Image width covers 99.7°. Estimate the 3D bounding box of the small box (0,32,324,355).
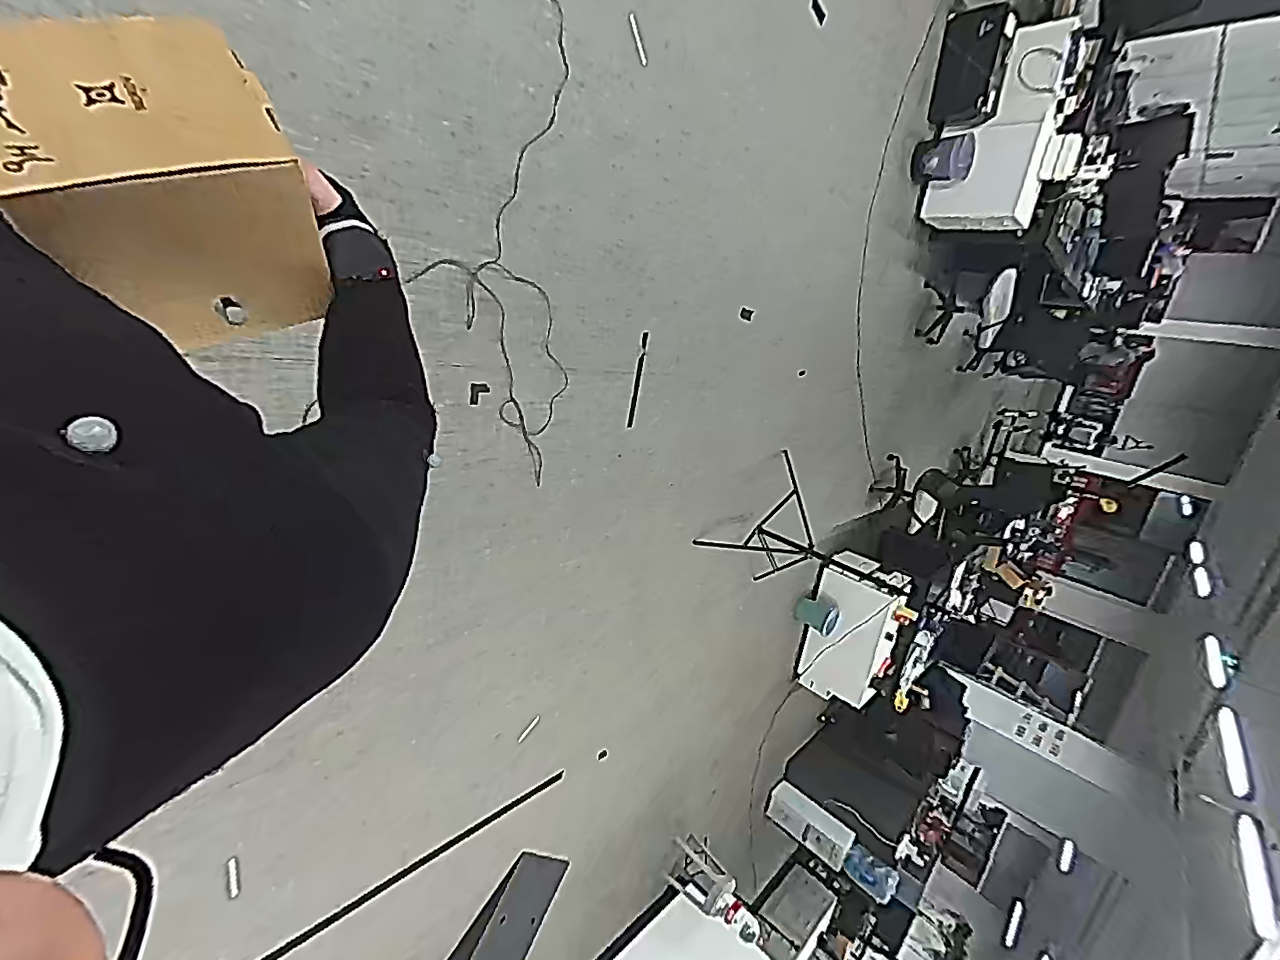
[{"bbox_3d":[-0.399,-0.239,0.466,0.179,0.168,0.176,-27,165,-28],"label":"small box"}]
